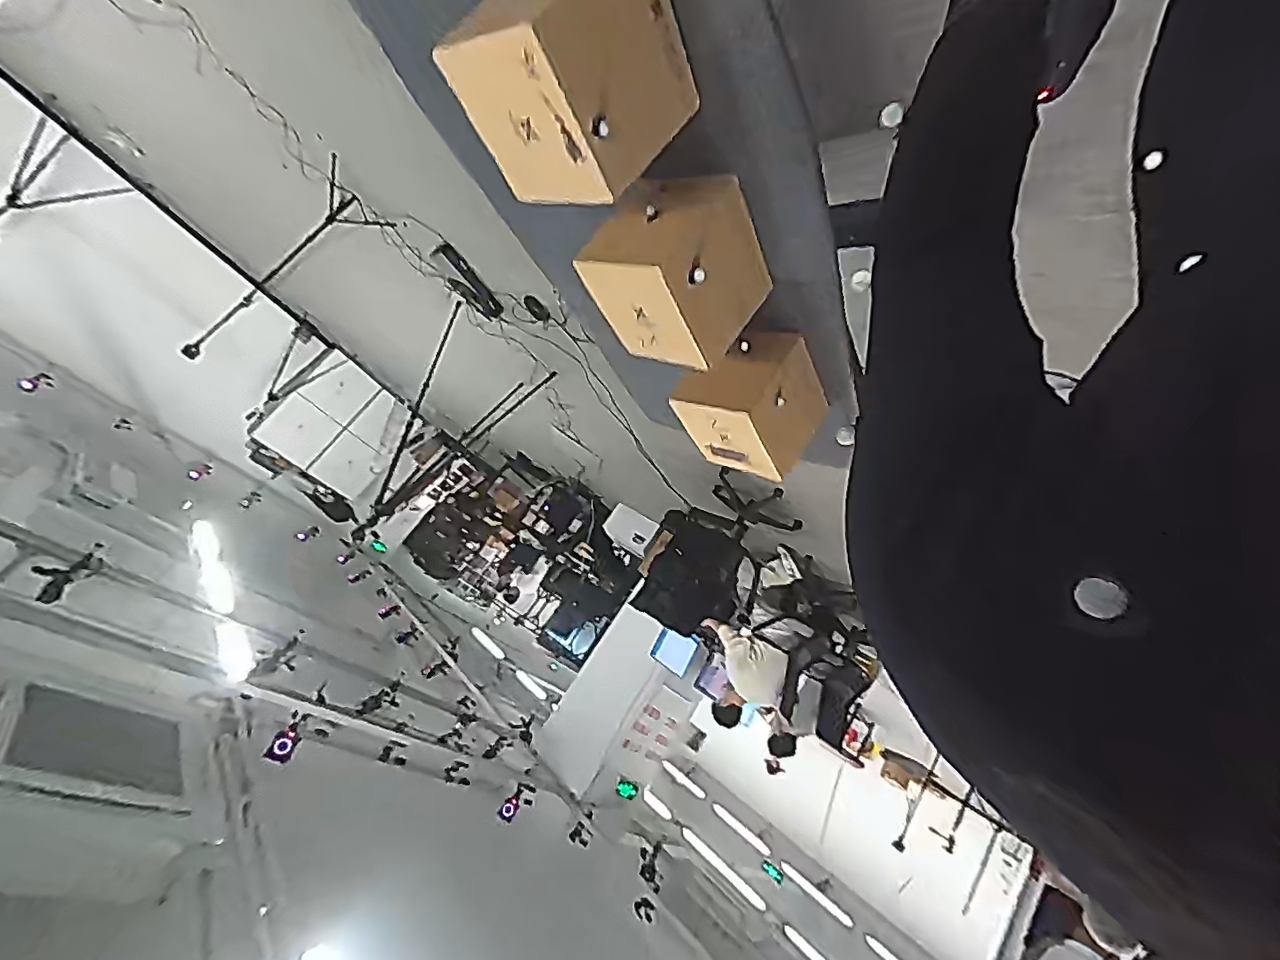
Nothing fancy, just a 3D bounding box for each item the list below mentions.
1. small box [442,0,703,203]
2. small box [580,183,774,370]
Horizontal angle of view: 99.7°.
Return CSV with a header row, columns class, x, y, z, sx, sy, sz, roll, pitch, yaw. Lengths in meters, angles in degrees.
class,x,y,z,sx,sy,sz,roll,pitch,yaw
small box,-0.064,-0.427,0.576,0.179,0.176,0.168,27,163,38
small box,0.057,-0.284,0.745,0.168,0.176,0.179,25,162,41
